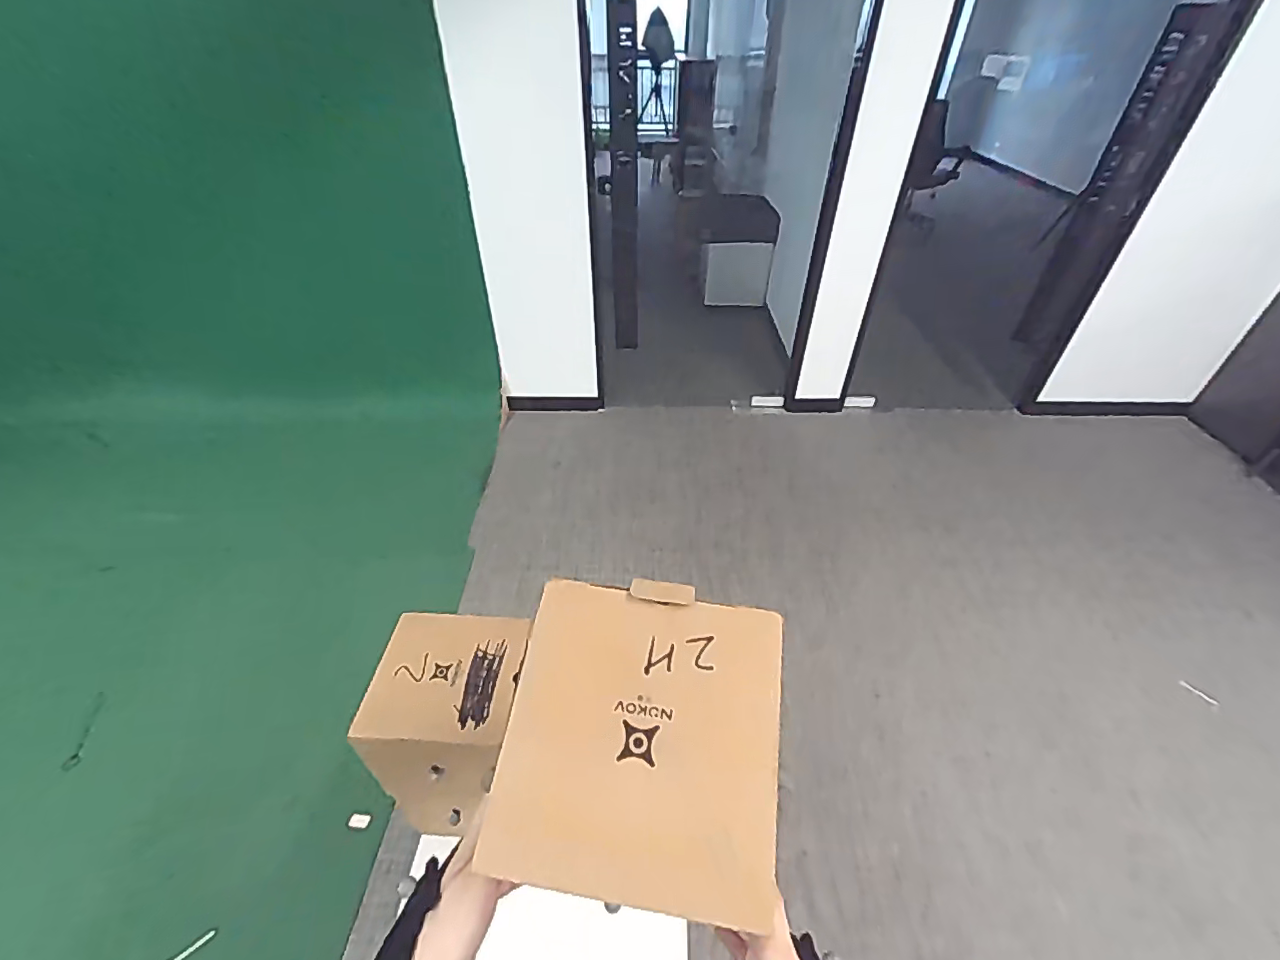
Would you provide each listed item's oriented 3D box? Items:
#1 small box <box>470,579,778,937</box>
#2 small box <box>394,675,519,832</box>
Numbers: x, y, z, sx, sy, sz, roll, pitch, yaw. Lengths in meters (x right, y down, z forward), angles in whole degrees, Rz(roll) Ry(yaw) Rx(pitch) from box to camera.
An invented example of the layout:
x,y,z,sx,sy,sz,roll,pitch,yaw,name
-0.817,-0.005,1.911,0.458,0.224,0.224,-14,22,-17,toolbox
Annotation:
x,y,z,sx,sy,sz,roll,pitch,yaw,name
0.001,0.194,0.399,0.168,0.176,0.179,8,59,6,small box
-0.233,0.415,0.814,0.179,0.176,0.168,2,41,1,small box
